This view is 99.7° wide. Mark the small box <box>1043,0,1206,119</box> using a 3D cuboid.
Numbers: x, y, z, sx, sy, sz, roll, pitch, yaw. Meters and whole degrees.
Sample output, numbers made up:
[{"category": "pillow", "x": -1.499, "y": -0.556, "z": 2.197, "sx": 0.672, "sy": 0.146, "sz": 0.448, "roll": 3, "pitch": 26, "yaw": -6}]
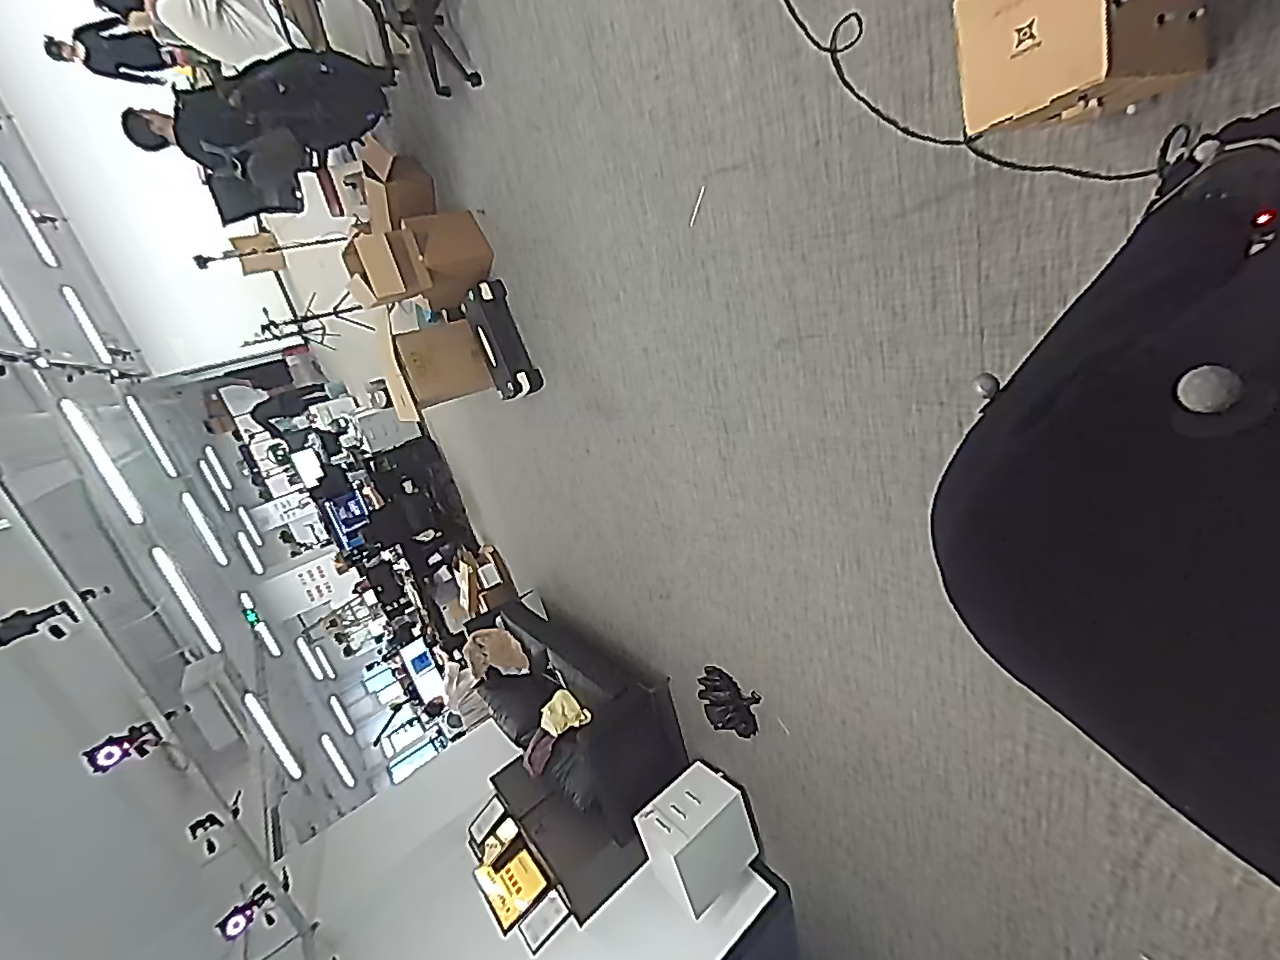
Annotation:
[{"category": "small box", "x": 0.812, "y": -0.741, "z": 0.906, "sx": 0.168, "sy": 0.176, "sz": 0.179, "roll": 2, "pitch": 116, "yaw": 56}]
